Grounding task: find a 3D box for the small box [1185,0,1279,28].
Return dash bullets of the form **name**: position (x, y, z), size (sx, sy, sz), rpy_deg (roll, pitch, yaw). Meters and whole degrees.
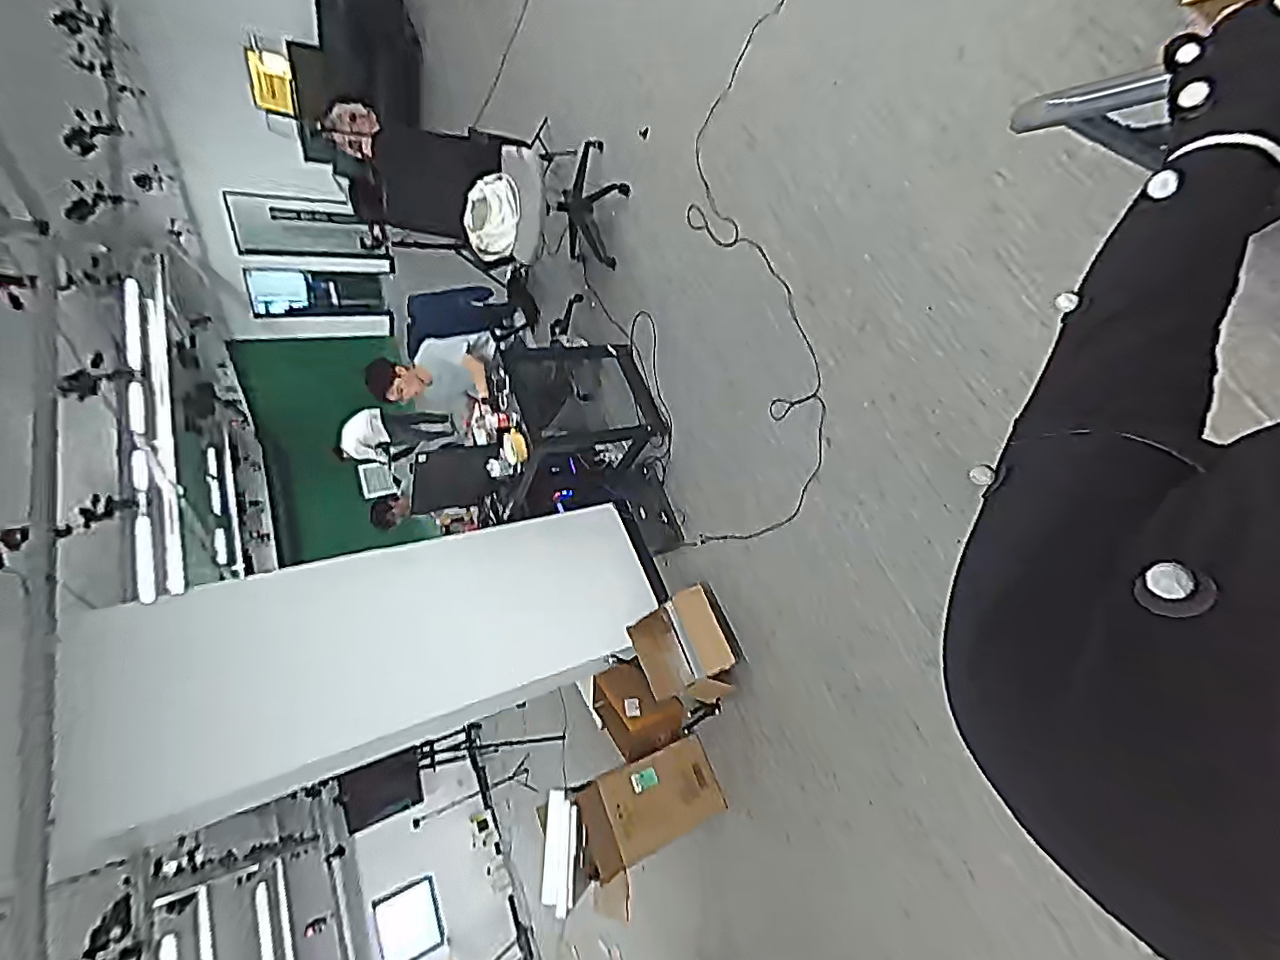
- **small box**: position (0.898, -0.761, 0.738), size (0.179, 0.176, 0.168), rpy_deg (29, 123, 50)
